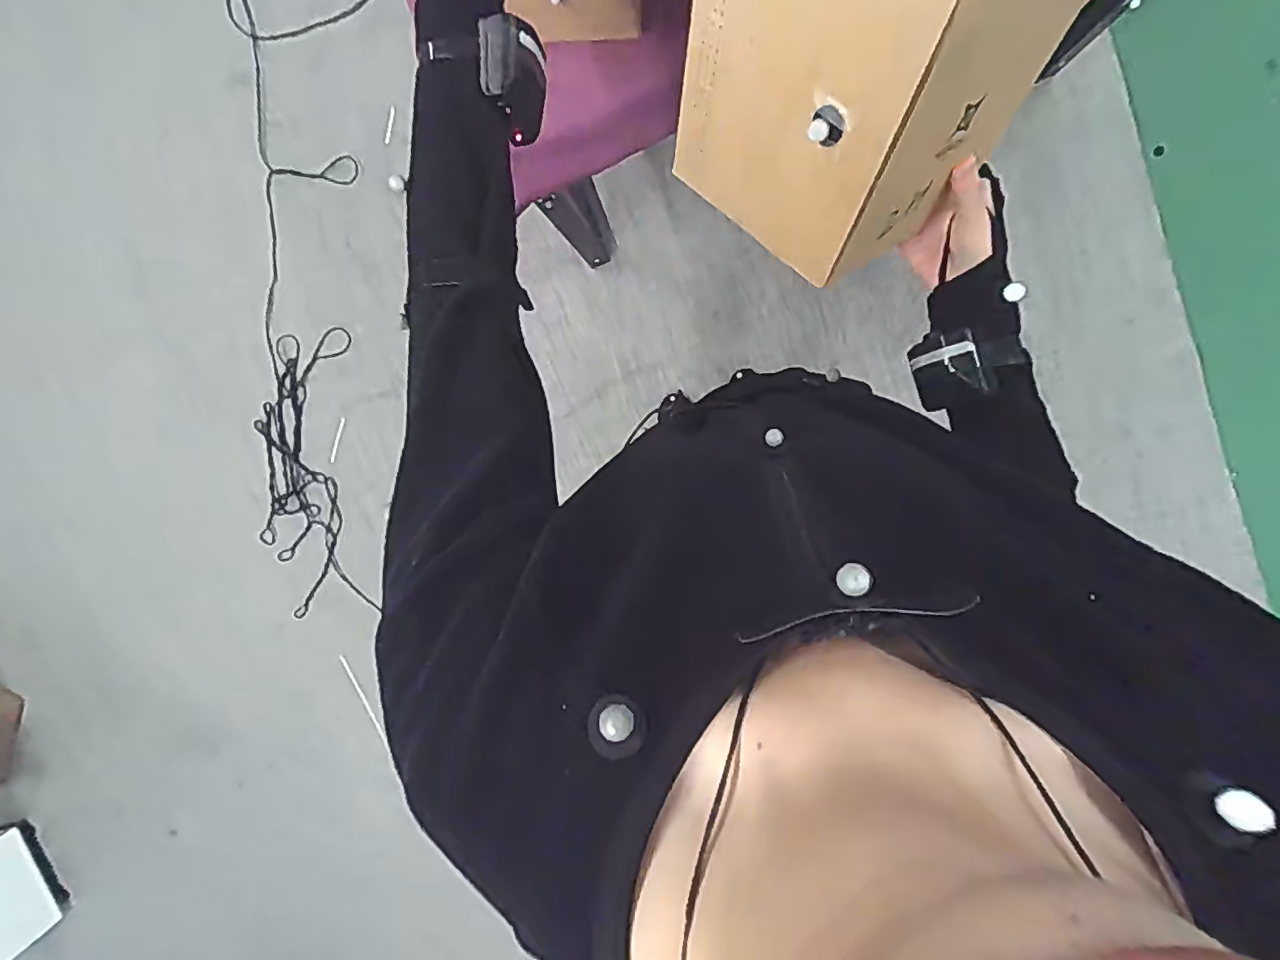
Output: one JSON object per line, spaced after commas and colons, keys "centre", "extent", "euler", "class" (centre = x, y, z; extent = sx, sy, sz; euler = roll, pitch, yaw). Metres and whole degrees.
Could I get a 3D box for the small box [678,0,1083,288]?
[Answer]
{"centre": [0.143, -0.274, 0.360], "extent": [0.168, 0.179, 0.176], "euler": [-35, 70, -20], "class": "small box"}
